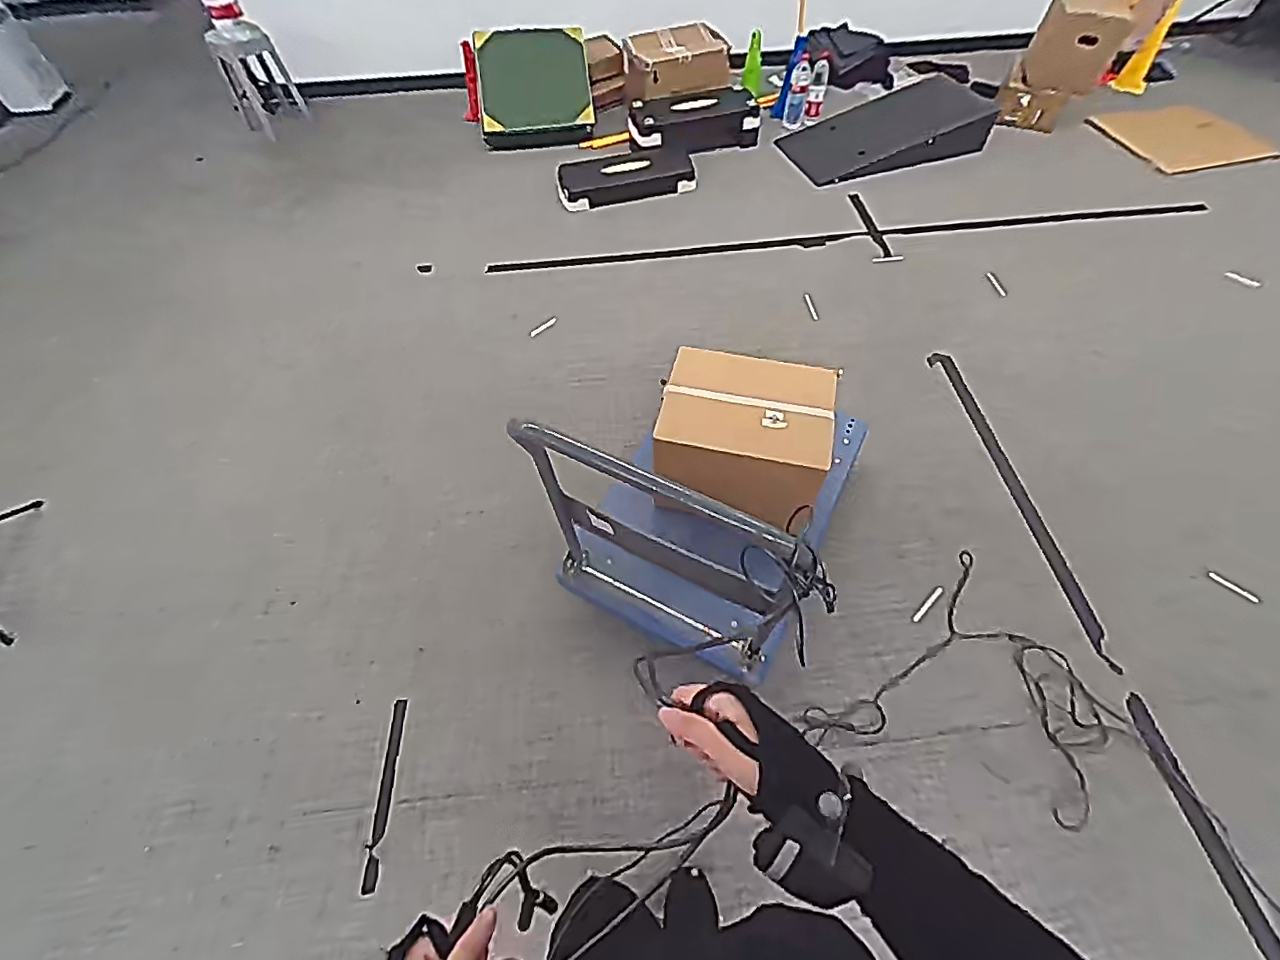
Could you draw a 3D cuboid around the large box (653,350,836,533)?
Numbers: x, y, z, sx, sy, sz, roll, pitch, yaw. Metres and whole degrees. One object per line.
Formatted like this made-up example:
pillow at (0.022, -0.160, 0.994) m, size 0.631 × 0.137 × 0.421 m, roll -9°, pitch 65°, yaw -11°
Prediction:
large box at (0.257, -0.095, 1.406) m, size 0.408 × 0.320 × 0.320 m, roll 11°, pitch 59°, yaw 9°
